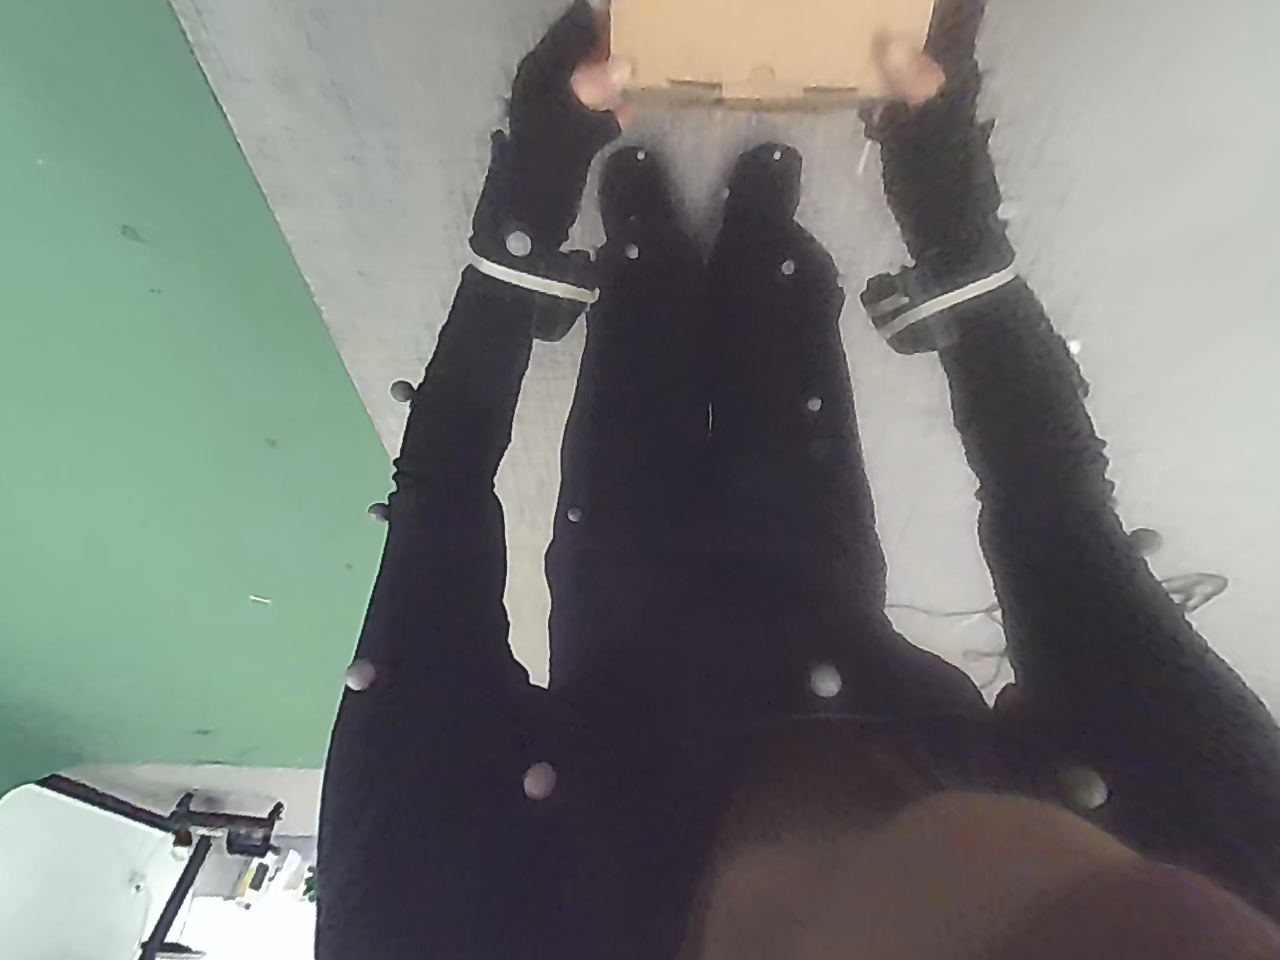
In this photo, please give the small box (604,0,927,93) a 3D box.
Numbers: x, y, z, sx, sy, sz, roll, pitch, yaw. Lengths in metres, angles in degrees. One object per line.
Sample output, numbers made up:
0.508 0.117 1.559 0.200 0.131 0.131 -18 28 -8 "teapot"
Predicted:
0.067 -0.338 0.309 0.168 0.176 0.179 3 123 1 "small box"
